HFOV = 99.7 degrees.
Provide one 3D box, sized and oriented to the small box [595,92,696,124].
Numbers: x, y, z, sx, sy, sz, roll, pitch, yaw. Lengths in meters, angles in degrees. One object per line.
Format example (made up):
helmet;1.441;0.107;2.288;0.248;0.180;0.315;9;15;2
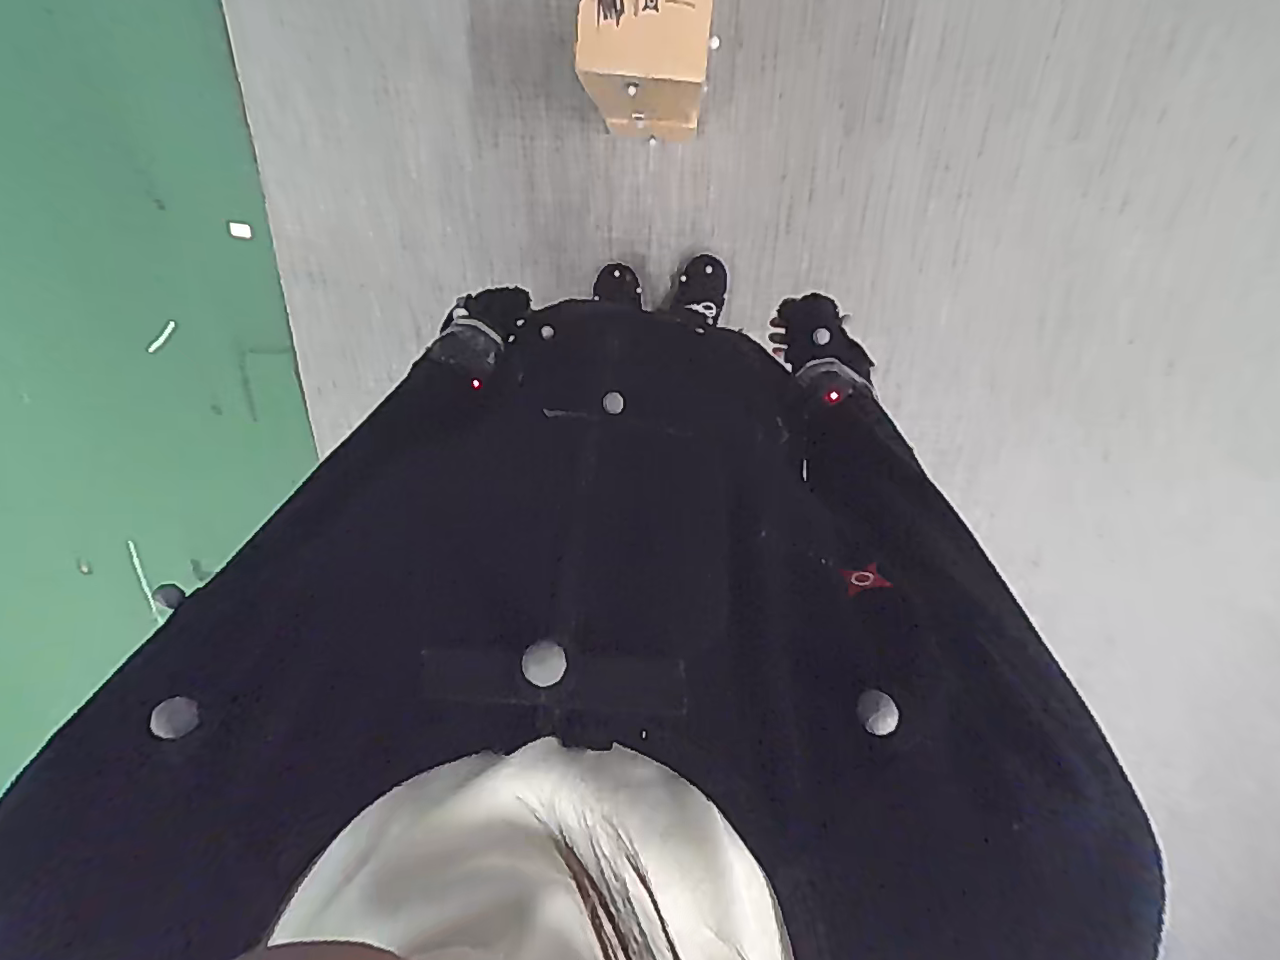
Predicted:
small box;0.018;-0.724;0.911;0.168;0.176;0.179;5;115;2

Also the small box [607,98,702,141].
small box;0.032;-0.780;1.063;0.179;0.176;0.168;5;114;0

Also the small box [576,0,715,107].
small box;0.013;-0.648;0.764;0.179;0.176;0.168;6;114;1
